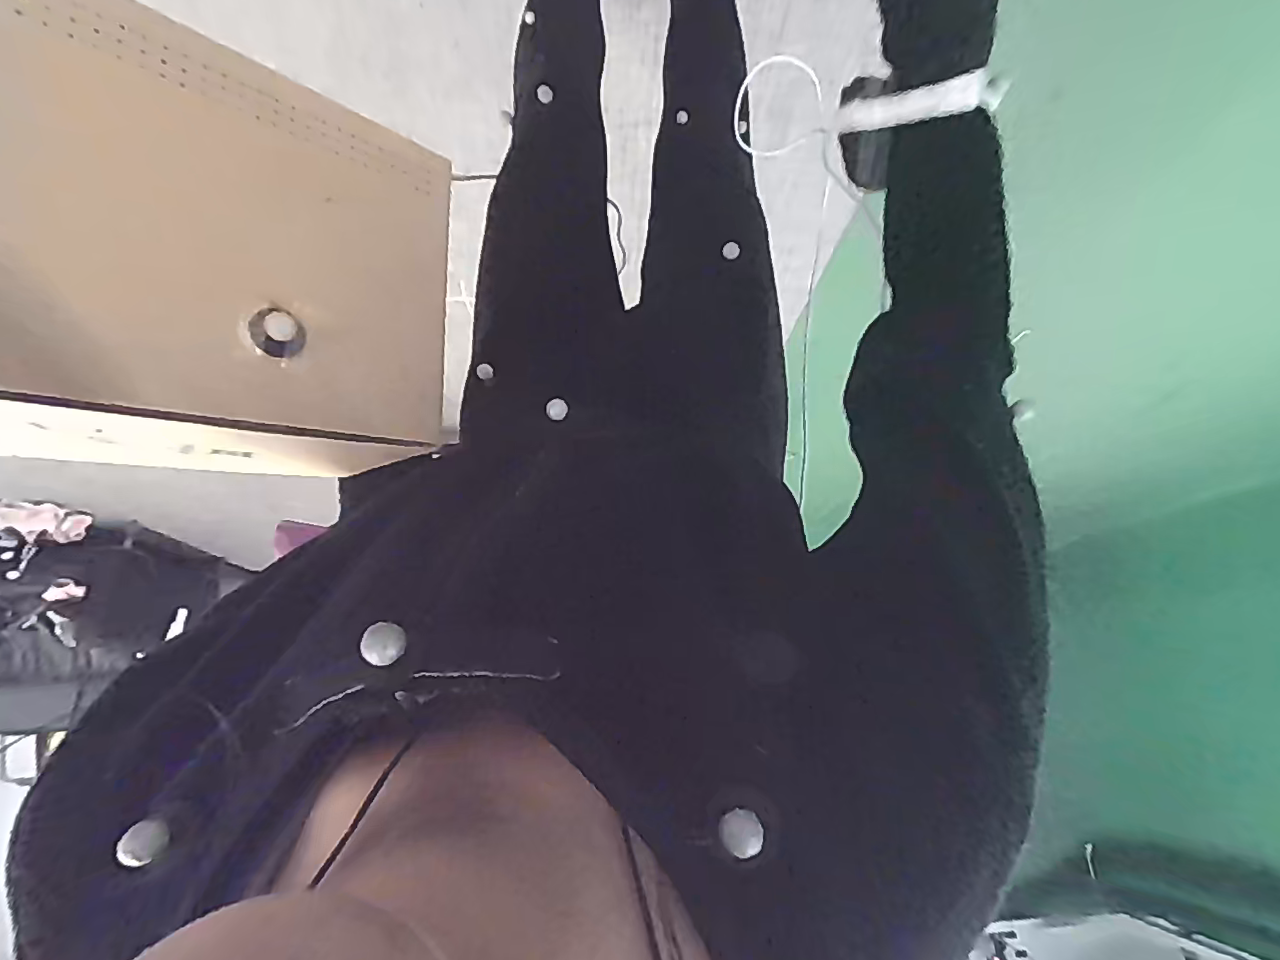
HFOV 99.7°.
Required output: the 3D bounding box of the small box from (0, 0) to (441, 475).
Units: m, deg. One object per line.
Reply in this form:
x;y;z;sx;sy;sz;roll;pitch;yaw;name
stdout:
-0.219;-0.100;0.282;0.168;0.176;0.179;-9;169;44;small box
